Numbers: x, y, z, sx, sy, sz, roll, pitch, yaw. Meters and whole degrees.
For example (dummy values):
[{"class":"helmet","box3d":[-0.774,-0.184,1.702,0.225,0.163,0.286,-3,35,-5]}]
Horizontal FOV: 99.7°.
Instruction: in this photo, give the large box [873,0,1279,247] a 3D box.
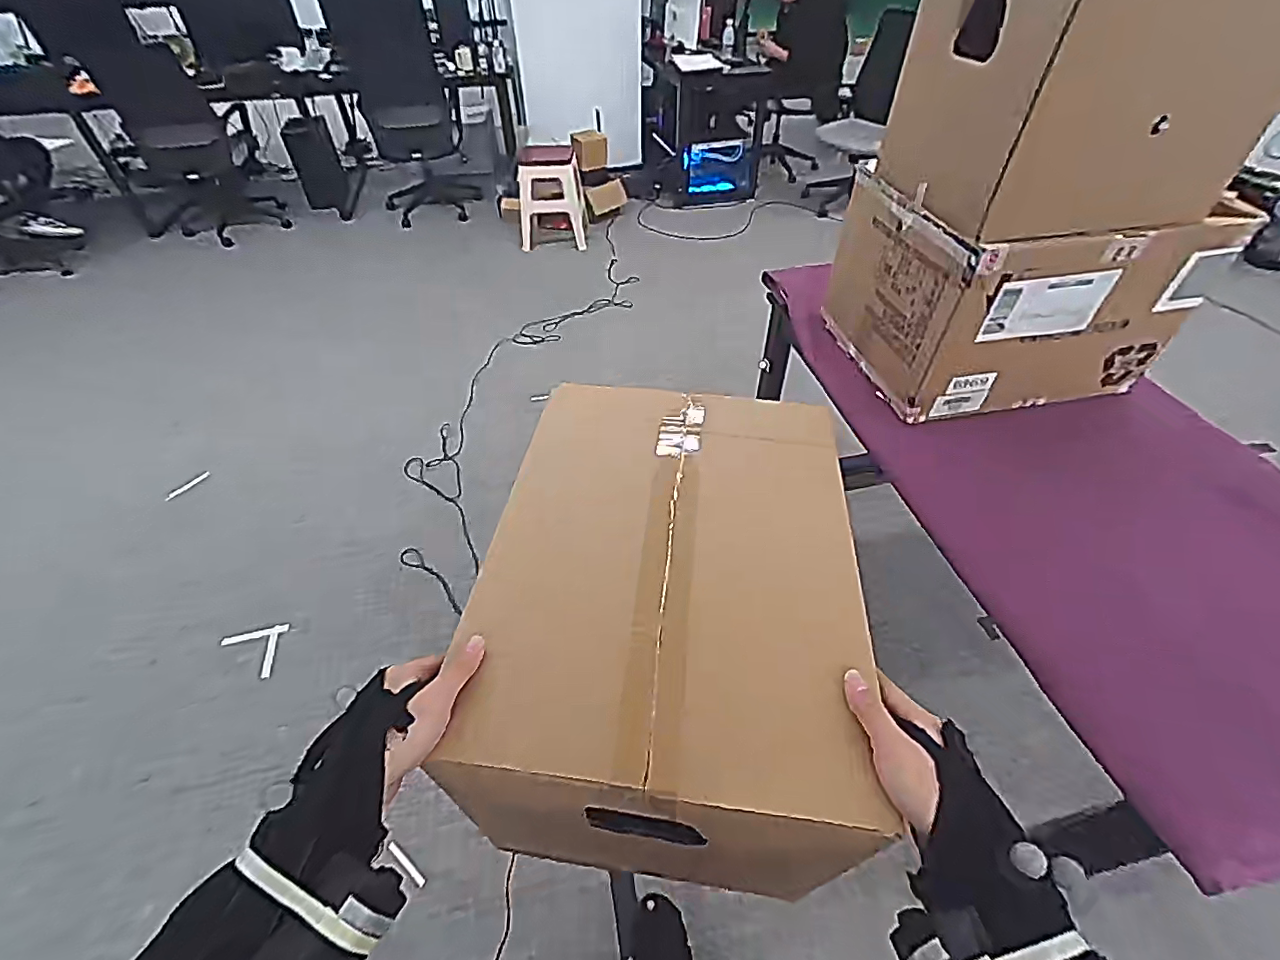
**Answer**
[{"class":"large box","box3d":[0.651,-0.588,0.824,0.408,0.320,0.320,-10,45,-8]}]
